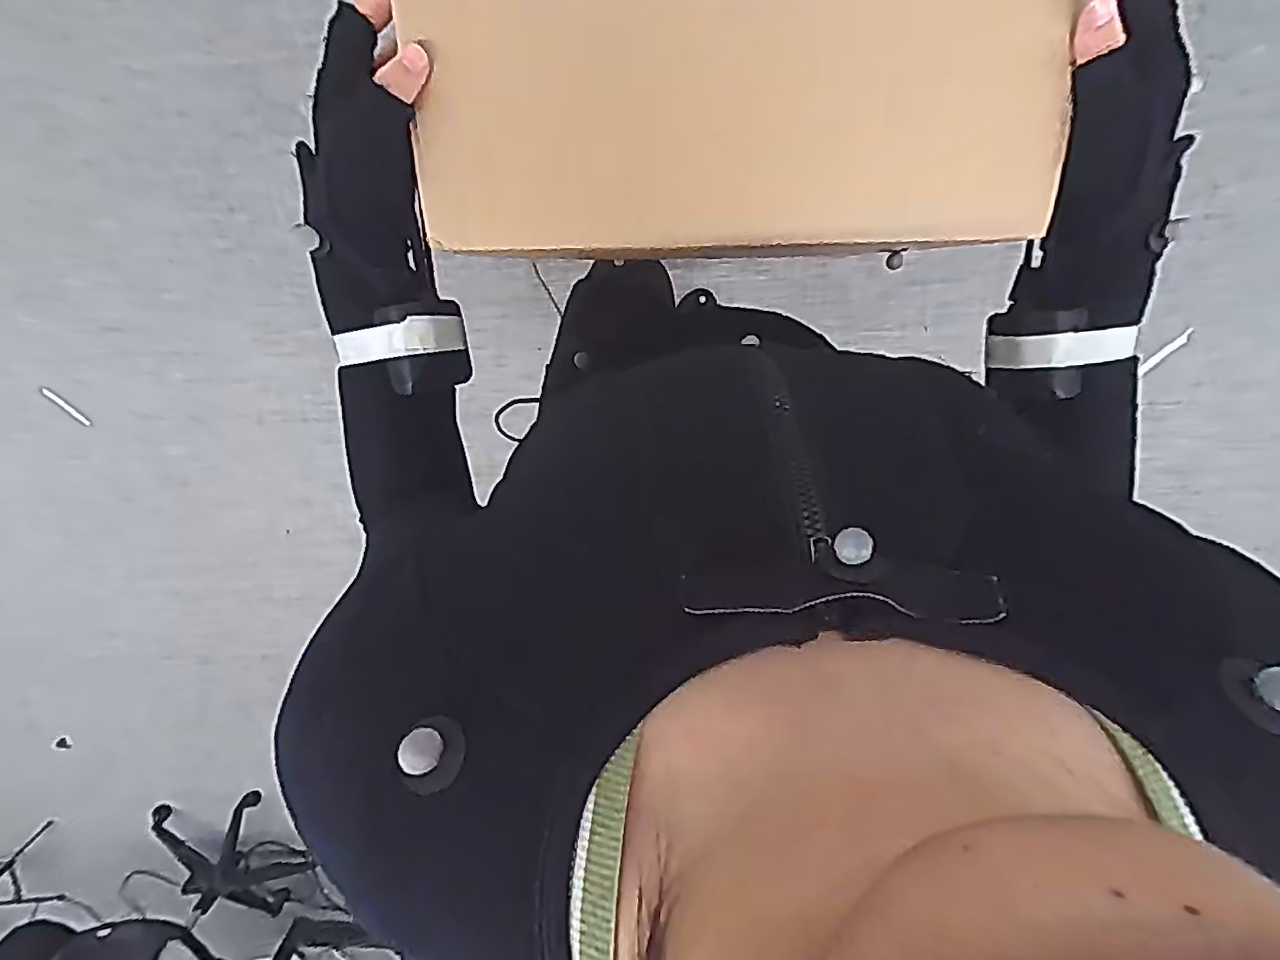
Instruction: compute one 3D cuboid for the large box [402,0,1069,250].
[{"bbox_3d":[0.057,-0.363,0.447,0.408,0.320,0.320,-1,111,-1],"label":"large box"}]
